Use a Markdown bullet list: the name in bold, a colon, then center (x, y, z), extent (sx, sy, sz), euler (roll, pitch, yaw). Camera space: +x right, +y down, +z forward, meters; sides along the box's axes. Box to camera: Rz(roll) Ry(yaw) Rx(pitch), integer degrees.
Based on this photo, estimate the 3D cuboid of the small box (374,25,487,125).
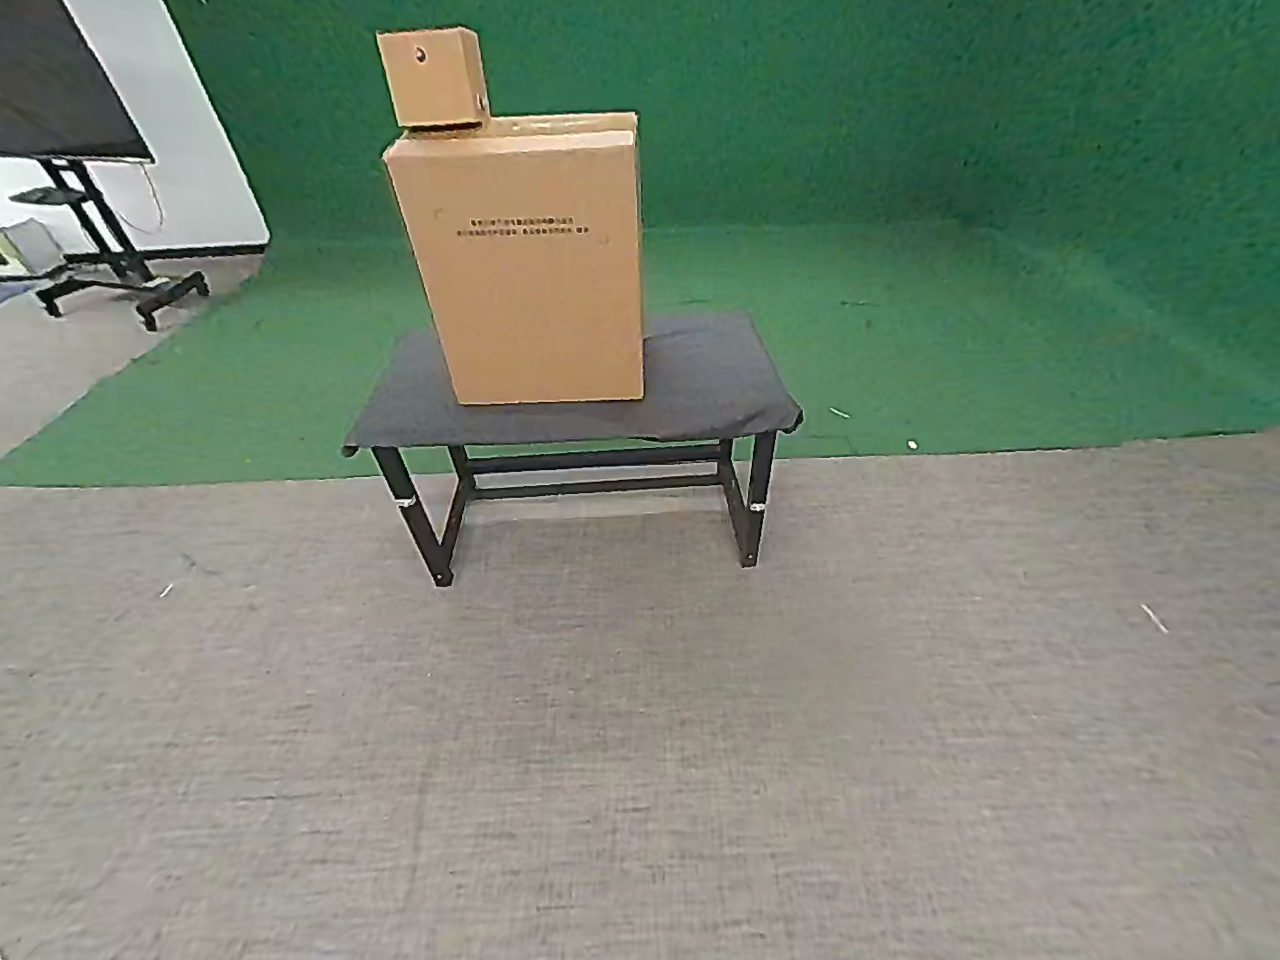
- **small box**: center (-0.456, -0.895, 1.208), extent (0.179, 0.176, 0.168), euler (-2, 36, -2)
